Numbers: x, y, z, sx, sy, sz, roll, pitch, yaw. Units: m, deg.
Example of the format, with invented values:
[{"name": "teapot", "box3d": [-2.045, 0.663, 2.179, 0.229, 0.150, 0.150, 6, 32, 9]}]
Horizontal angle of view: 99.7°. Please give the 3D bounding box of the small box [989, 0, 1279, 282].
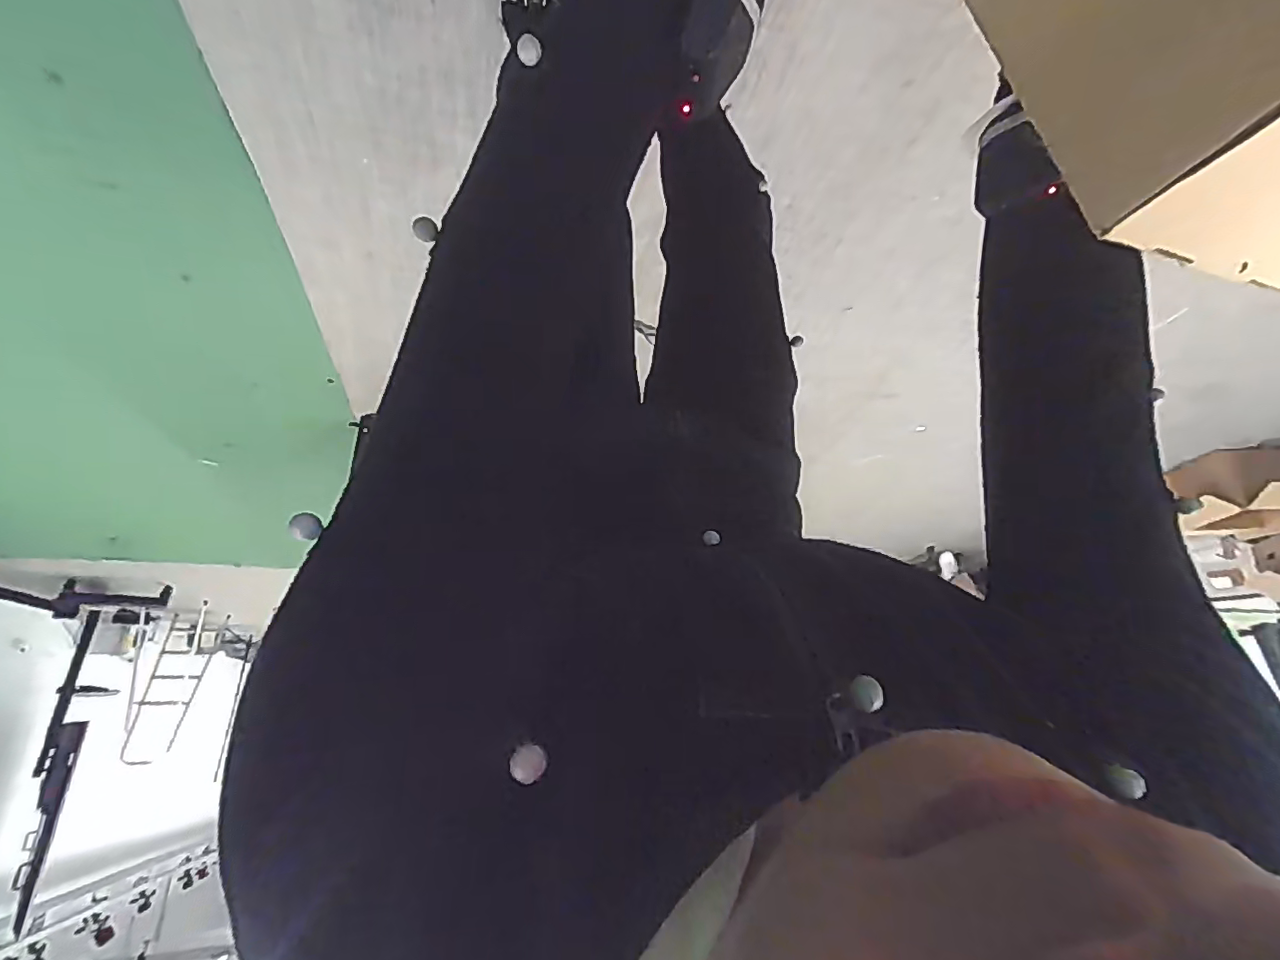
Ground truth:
[{"name": "small box", "box3d": [0.256, -0.200, 0.180, 0.168, 0.176, 0.179, 1, 158, -20]}]
